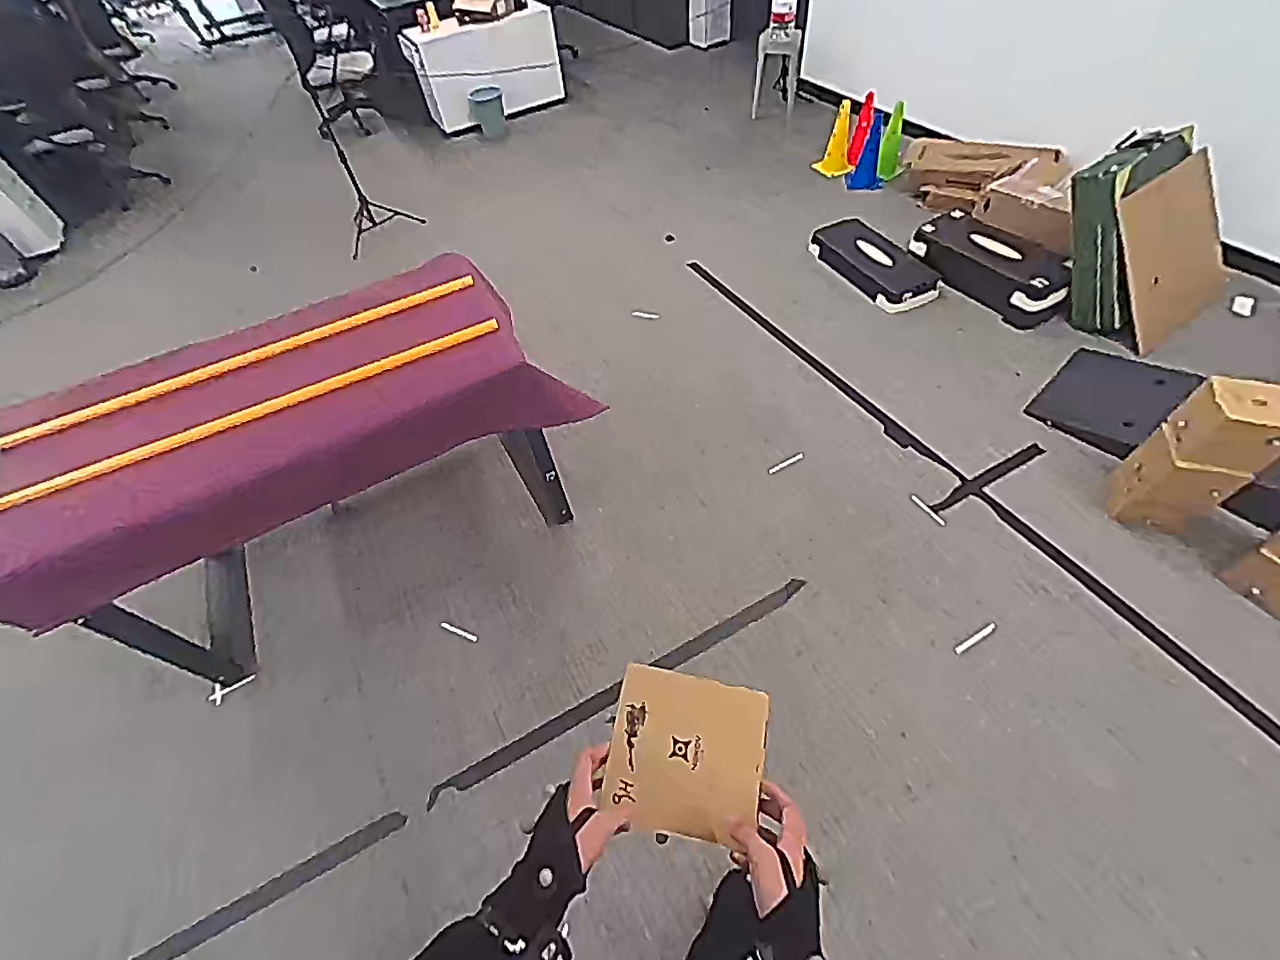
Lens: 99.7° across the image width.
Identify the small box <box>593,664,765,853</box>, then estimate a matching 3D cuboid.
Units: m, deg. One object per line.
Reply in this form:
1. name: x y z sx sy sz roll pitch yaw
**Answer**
1. small box: 0.044 0.348 0.690 0.179 0.176 0.168 12 62 2
